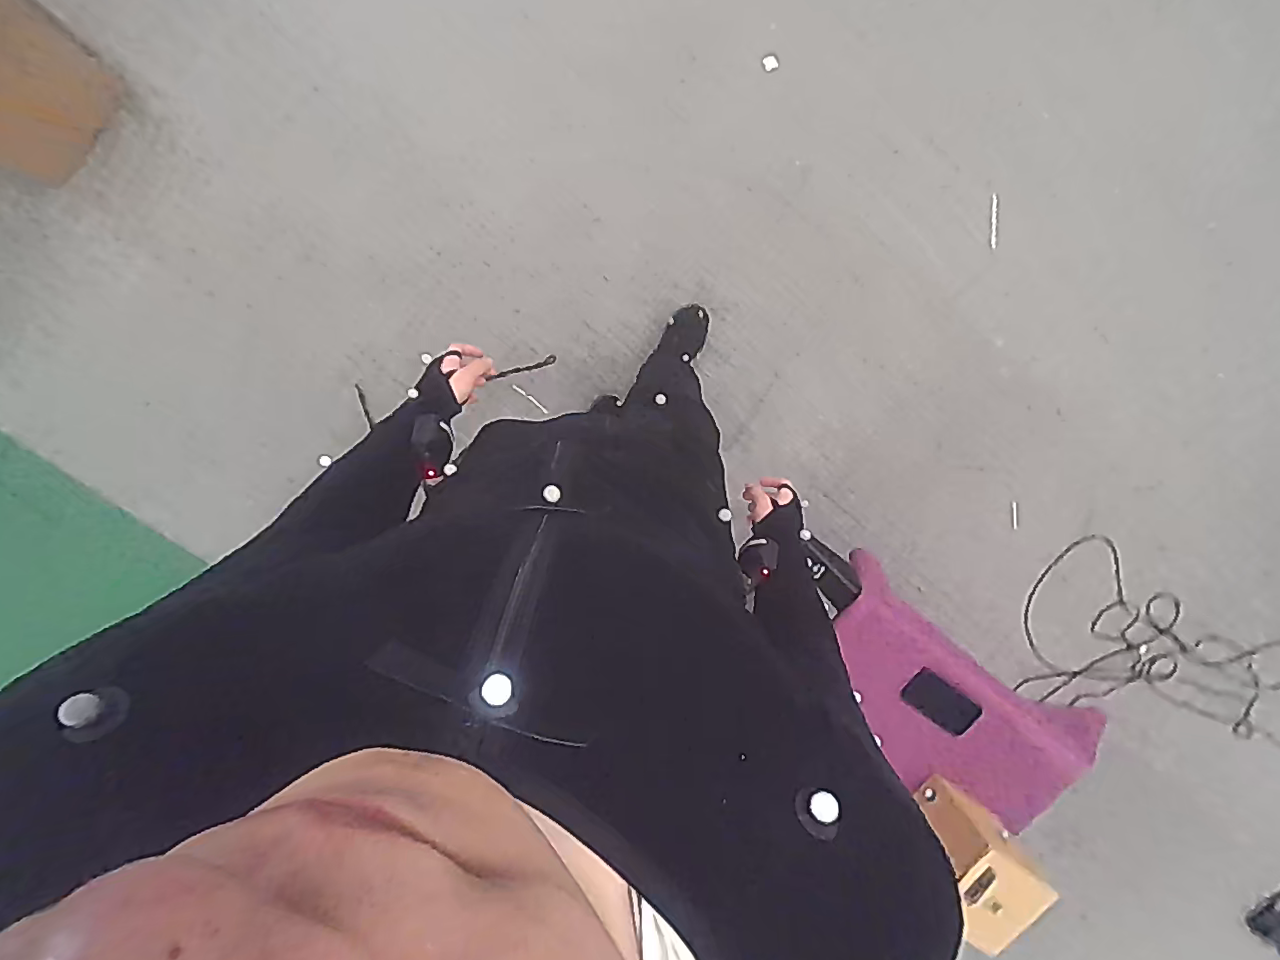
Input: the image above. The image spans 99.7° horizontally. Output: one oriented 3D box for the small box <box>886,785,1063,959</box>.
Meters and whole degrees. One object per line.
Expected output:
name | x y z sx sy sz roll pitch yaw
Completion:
small box | 0.591 0.698 0.983 0.179 0.176 0.168 37 99 -10
